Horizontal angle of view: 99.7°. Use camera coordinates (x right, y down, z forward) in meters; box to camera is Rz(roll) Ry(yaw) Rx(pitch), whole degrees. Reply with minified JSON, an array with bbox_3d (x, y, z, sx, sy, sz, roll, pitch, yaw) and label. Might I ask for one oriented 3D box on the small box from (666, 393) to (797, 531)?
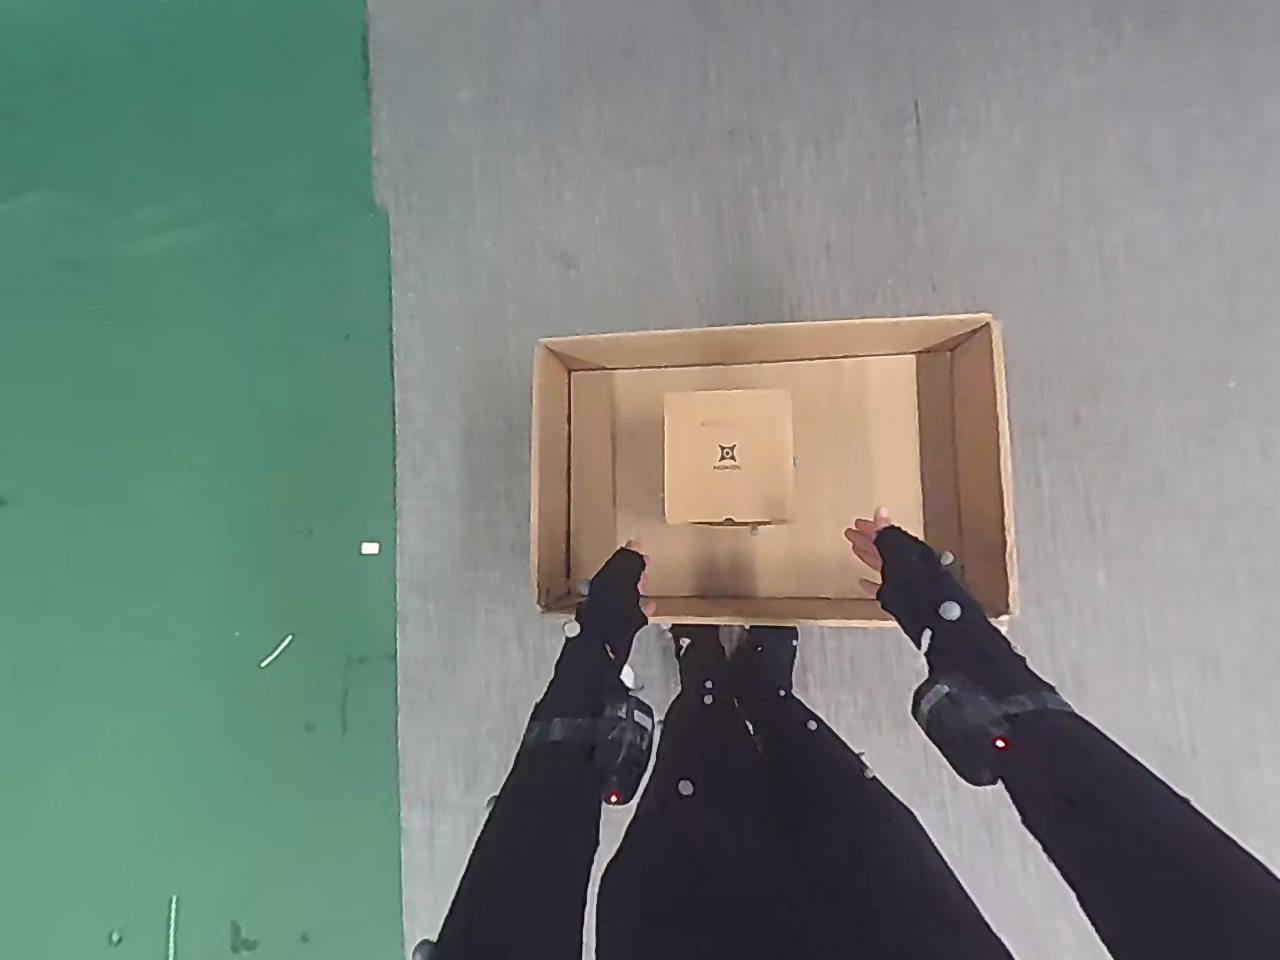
[{"bbox_3d":[0.127,-0.016,0.772,0.168,0.176,0.179,-2,83,7],"label":"small box"}]
